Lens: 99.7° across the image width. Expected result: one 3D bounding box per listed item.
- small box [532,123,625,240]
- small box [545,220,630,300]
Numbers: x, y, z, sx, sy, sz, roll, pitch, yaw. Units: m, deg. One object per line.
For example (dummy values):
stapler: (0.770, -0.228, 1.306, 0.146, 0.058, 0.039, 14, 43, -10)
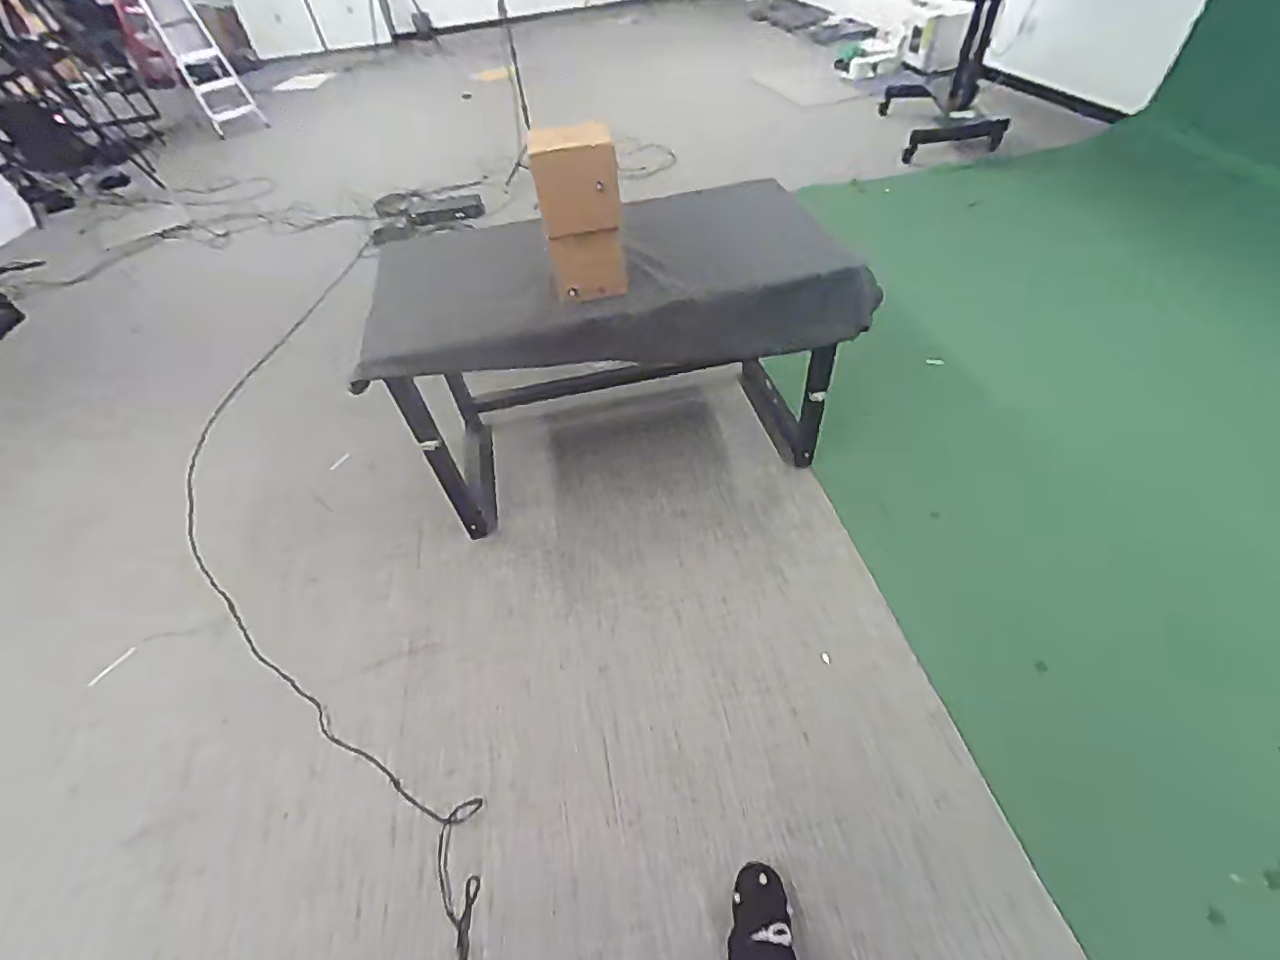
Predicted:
small box: (-0.132, -0.653, 1.186, 0.179, 0.176, 0.168, -11, 47, -1)
small box: (-0.126, -0.555, 1.316, 0.168, 0.176, 0.179, -14, 50, -5)
